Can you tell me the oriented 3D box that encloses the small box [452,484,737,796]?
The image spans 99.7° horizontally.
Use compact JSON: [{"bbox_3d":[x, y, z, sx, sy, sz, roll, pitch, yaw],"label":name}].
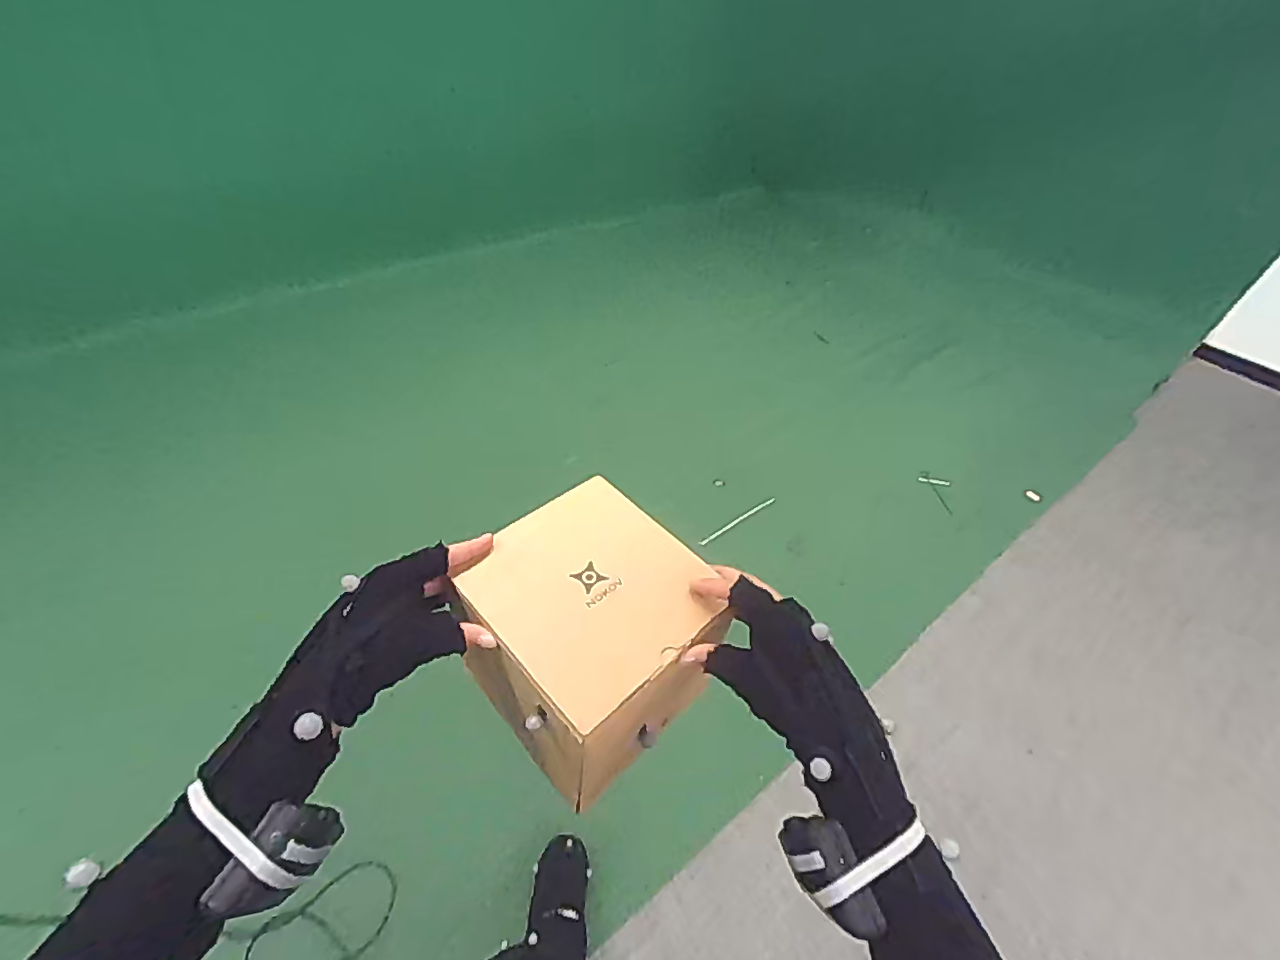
[{"bbox_3d":[-0.046,0.141,0.490,0.168,0.176,0.179,-31,57,-34],"label":"small box"}]
